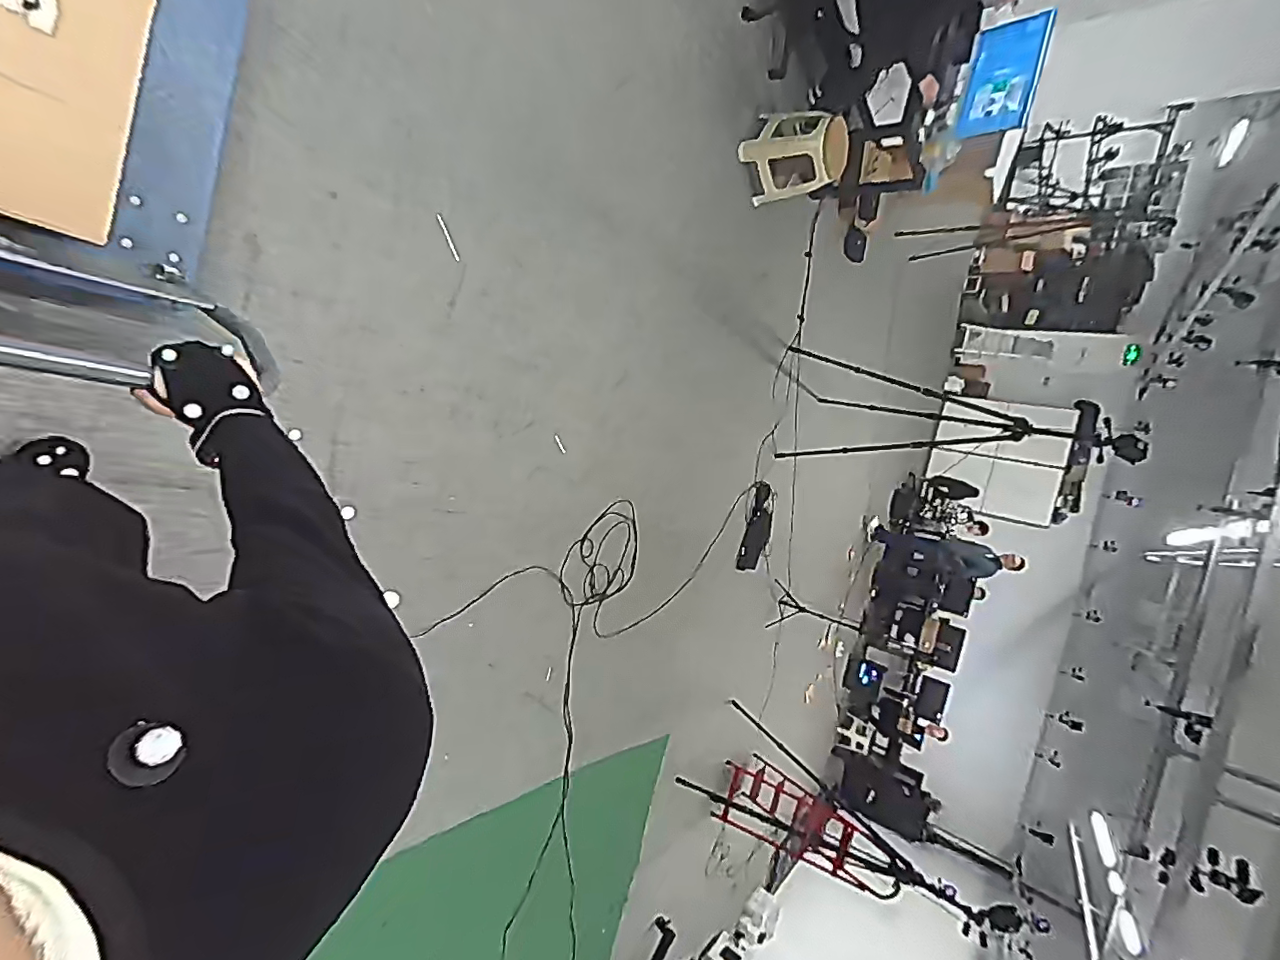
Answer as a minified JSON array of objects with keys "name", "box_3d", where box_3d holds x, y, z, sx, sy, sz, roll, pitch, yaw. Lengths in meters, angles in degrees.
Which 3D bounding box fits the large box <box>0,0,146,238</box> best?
[{"name":"large box","box_3d":[-0.937,-0.598,0.742,0.320,0.320,0.408,8,102,-54]}]
